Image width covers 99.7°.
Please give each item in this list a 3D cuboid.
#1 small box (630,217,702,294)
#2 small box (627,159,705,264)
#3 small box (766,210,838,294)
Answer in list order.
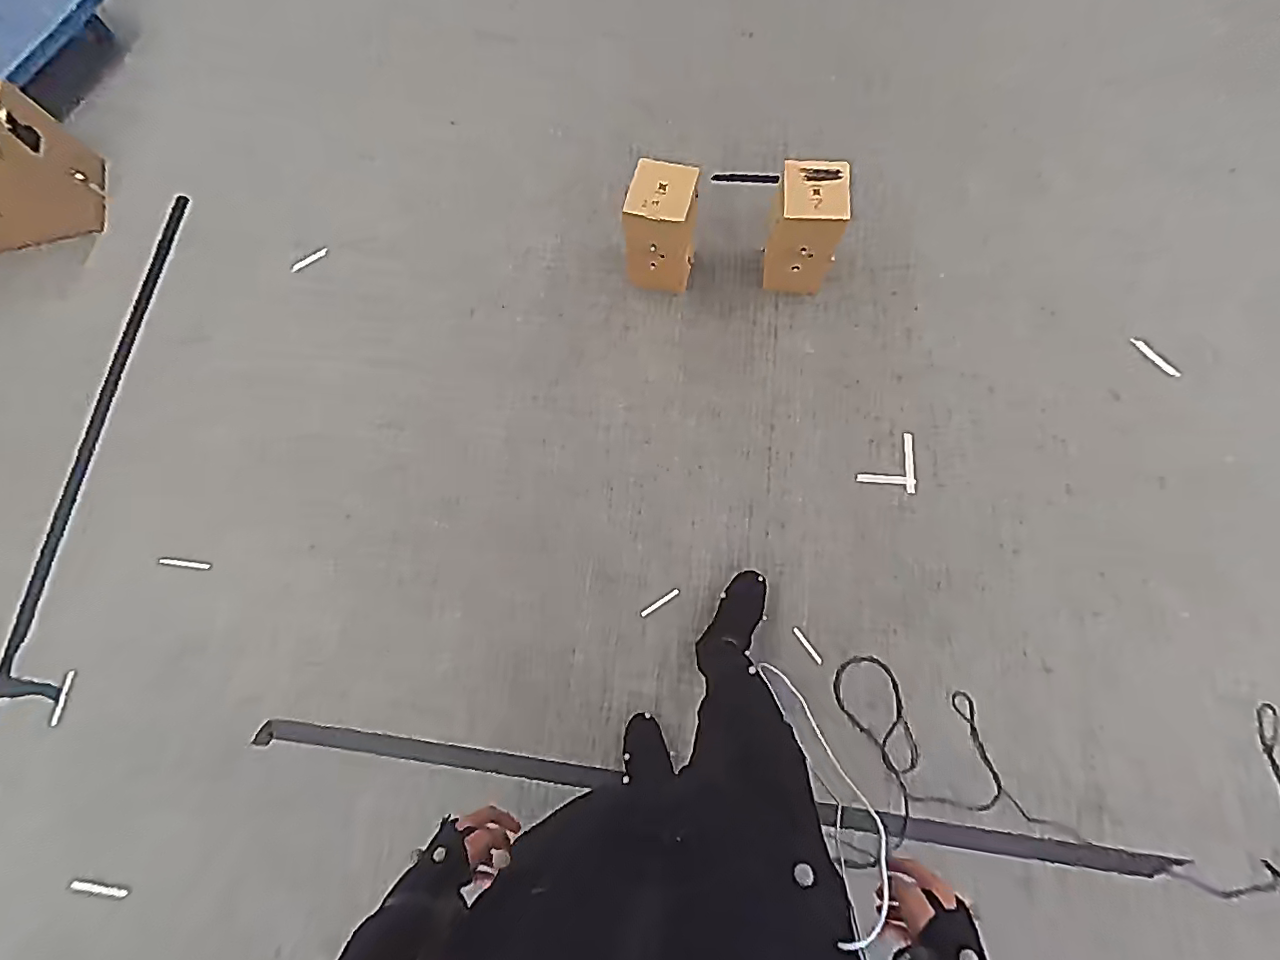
[{"bbox_3d":[0.080,-0.687,1.631,0.179,0.176,0.168,13,77,7],"label":"small box"},{"bbox_3d":[0.071,-0.724,1.470,0.168,0.176,0.179,15,77,8],"label":"small box"},{"bbox_3d":[0.475,-0.670,1.603,0.179,0.176,0.168,4,77,3],"label":"small box"}]
